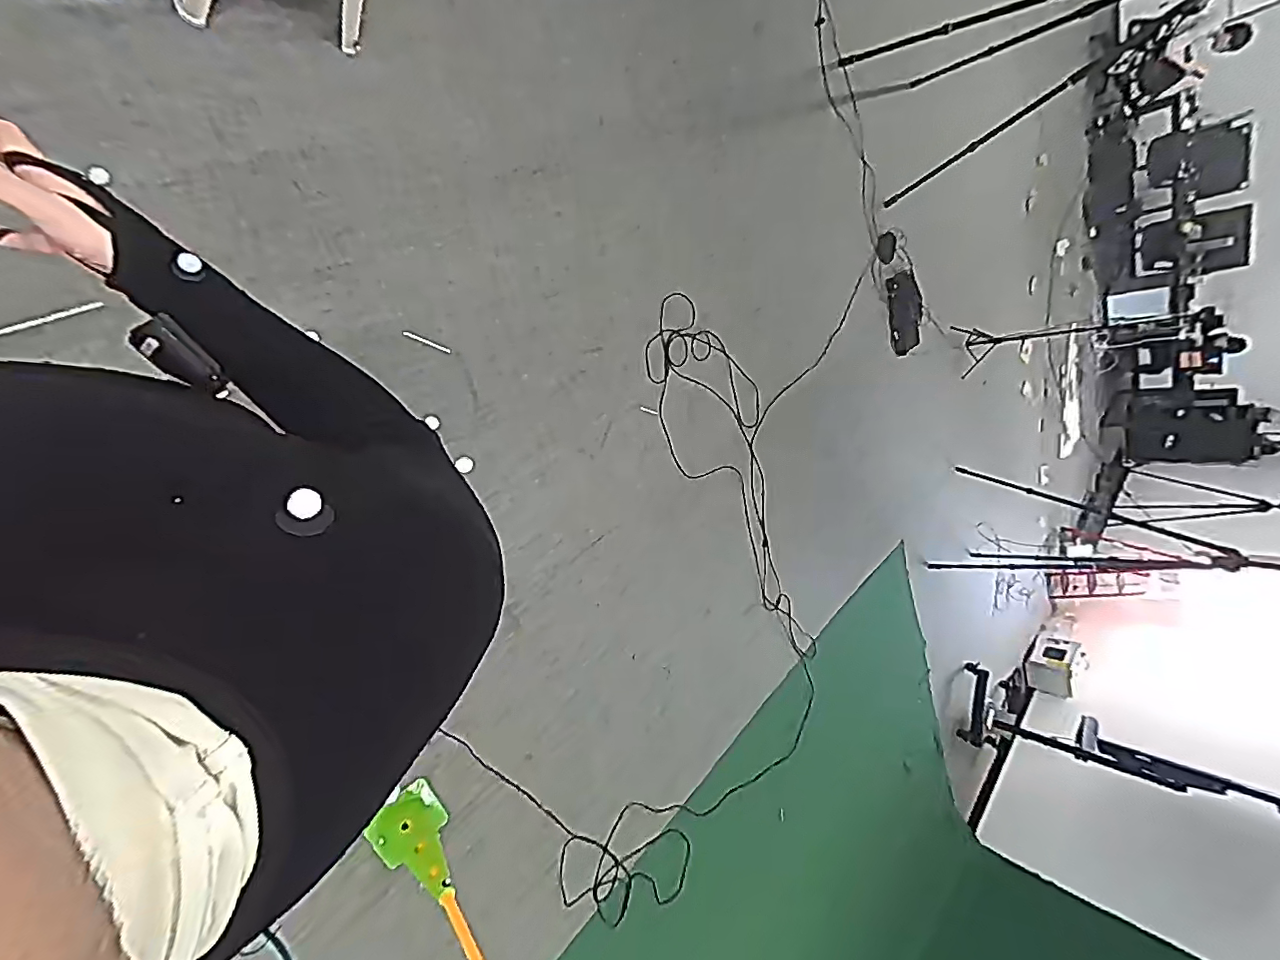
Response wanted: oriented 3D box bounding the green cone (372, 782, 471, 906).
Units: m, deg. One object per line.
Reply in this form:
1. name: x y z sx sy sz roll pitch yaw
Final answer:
1. green cone: -0.567 1.061 1.510 0.202 0.368 0.200 -35 115 -34
